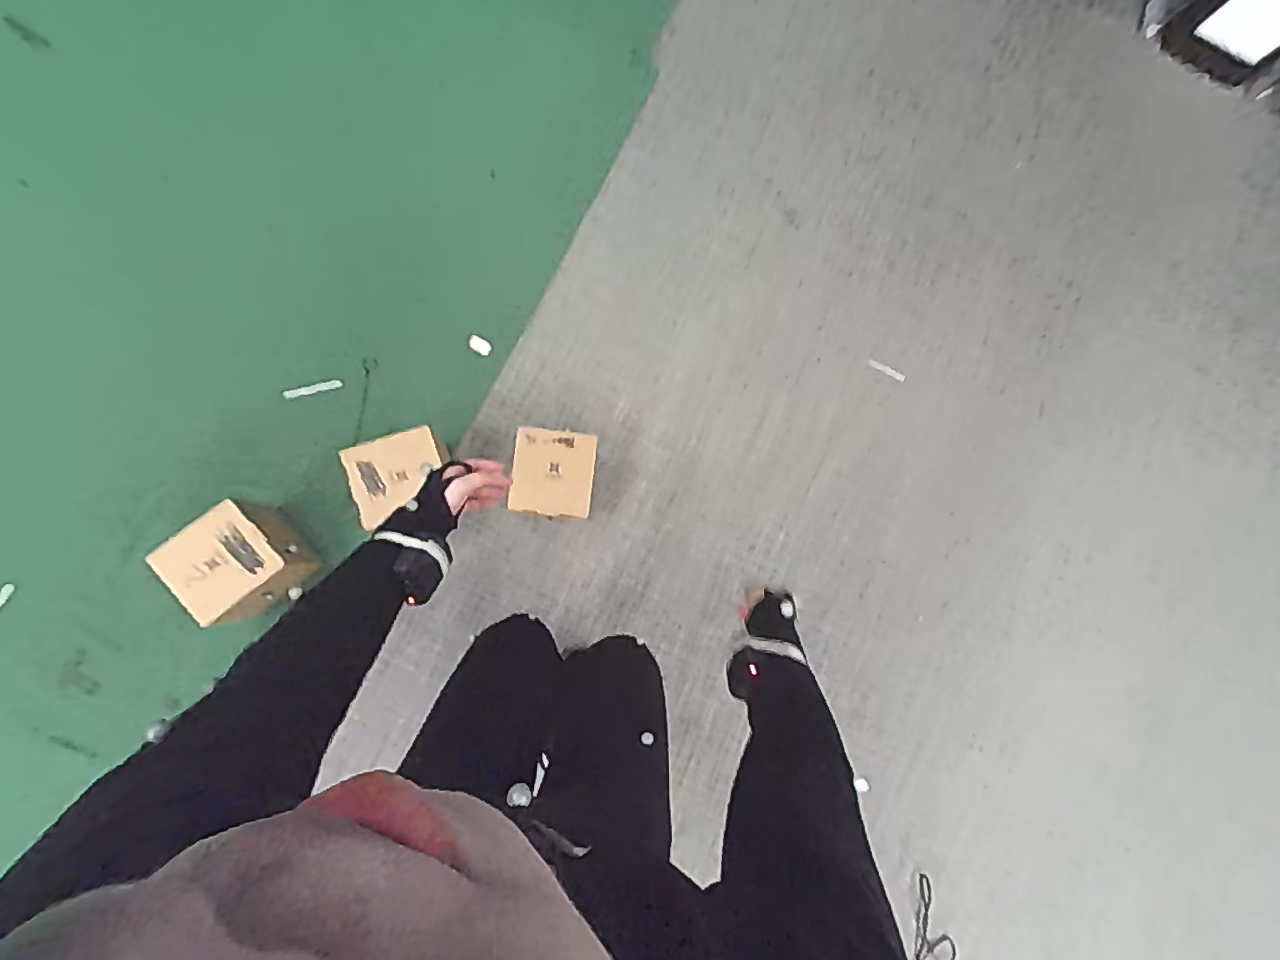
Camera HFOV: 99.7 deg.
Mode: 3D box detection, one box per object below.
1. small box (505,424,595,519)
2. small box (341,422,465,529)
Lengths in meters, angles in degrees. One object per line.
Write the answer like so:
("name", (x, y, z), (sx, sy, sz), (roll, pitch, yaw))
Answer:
("small box", (-0.192, -0.011, 1.184), (0.168, 0.176, 0.179), (7, 82, -7))
("small box", (-0.488, -0.002, 1.138), (0.179, 0.176, 0.168), (-19, 85, -11))
